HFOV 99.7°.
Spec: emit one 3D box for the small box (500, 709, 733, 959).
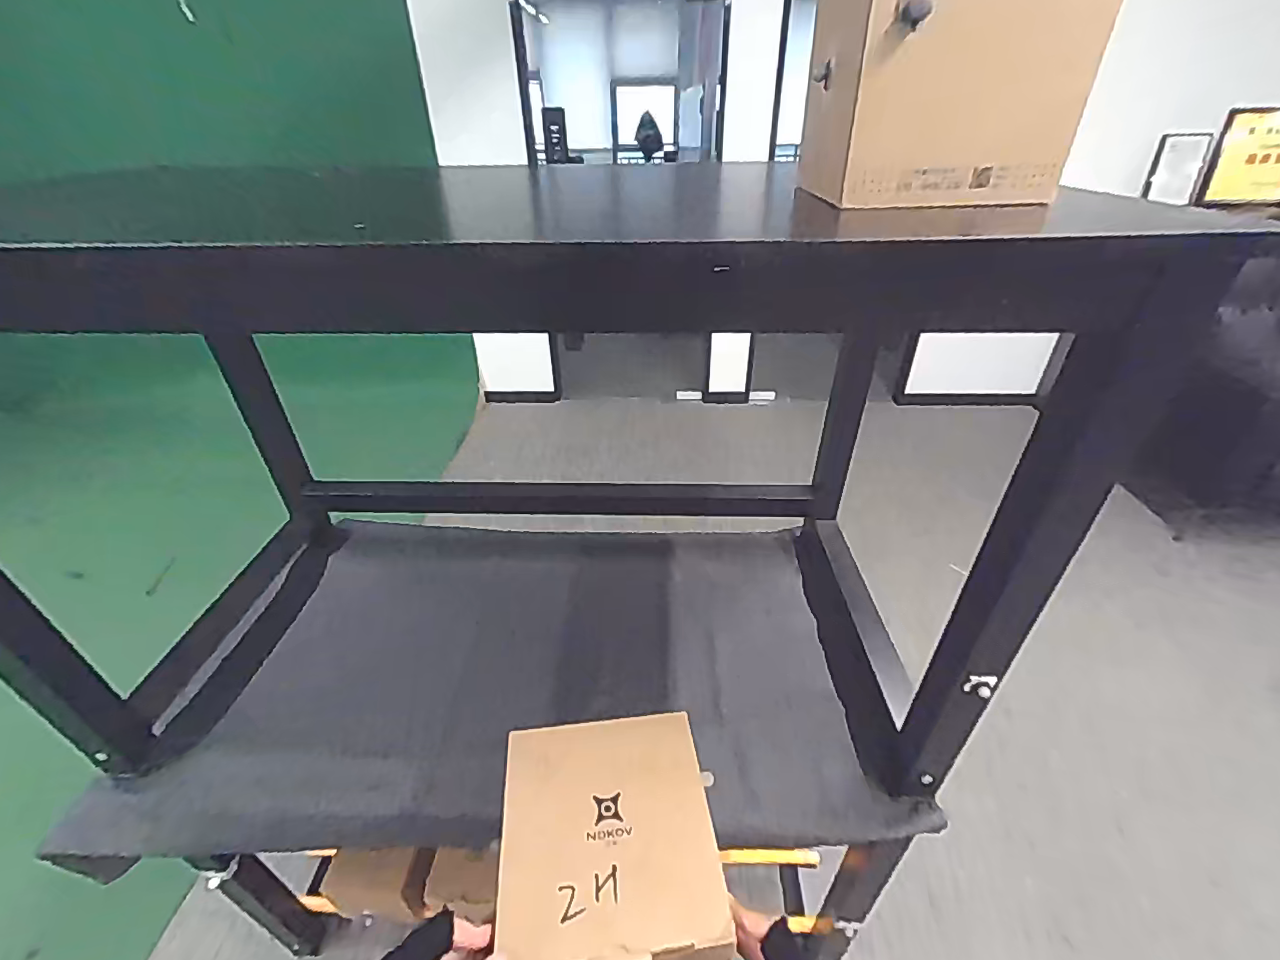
[{"bbox_3d":[-0.025,0.339,0.484,0.168,0.176,0.179,-4,31,-6],"label":"small box"}]
